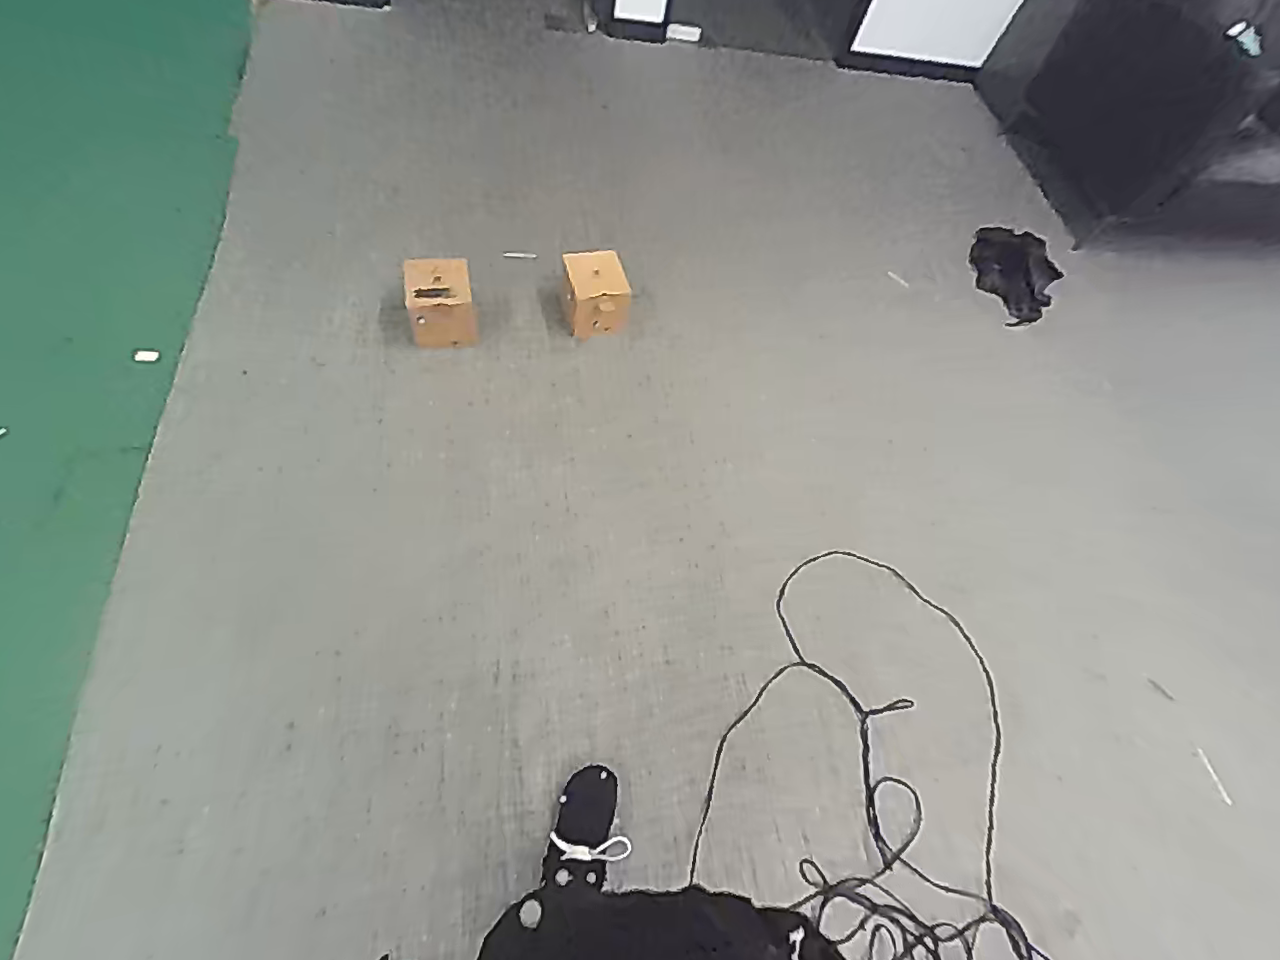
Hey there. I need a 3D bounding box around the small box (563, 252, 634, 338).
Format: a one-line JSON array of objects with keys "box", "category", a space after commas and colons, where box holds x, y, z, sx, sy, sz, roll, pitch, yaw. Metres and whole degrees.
[{"box": [-0.132, -0.560, 1.641, 0.168, 0.176, 0.179, -12, 67, -17], "category": "small box"}]
